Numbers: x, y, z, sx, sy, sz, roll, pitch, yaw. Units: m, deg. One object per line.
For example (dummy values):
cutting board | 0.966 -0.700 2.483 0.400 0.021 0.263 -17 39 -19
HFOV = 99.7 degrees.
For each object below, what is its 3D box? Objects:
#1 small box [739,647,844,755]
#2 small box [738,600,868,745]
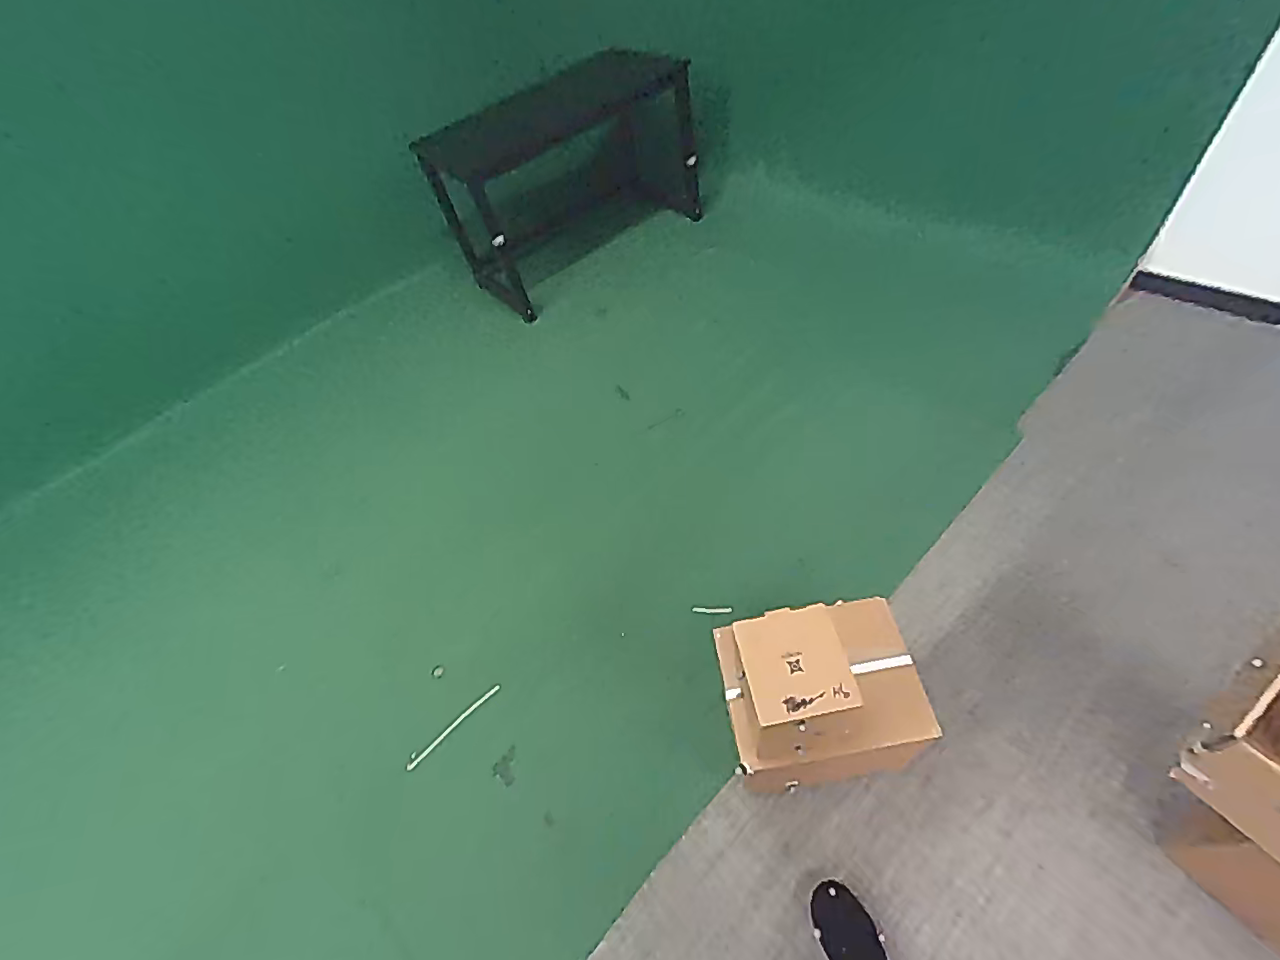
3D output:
small box | 0.297 0.426 1.077 0.168 0.176 0.179 -13 53 3
small box | 0.271 0.338 0.941 0.168 0.176 0.179 -13 52 3
